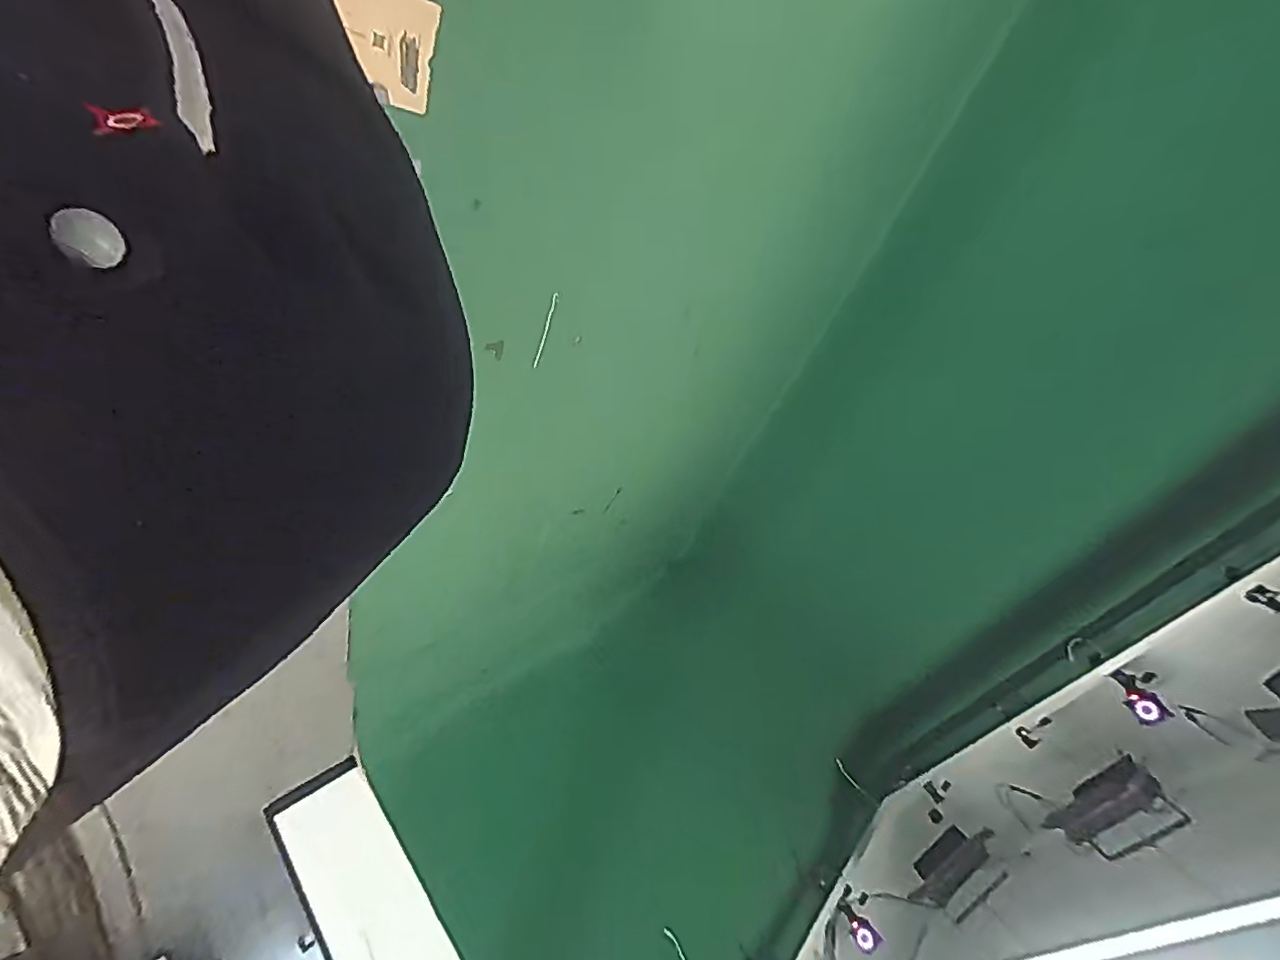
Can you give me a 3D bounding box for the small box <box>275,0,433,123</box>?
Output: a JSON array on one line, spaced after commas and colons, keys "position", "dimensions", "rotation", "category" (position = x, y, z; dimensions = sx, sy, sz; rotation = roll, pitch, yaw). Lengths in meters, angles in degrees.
[{"position": [-0.486, -0.747, 0.916], "dimensions": [0.179, 0.176, 0.168], "rotation": [-16, 141, -48], "category": "small box"}]
